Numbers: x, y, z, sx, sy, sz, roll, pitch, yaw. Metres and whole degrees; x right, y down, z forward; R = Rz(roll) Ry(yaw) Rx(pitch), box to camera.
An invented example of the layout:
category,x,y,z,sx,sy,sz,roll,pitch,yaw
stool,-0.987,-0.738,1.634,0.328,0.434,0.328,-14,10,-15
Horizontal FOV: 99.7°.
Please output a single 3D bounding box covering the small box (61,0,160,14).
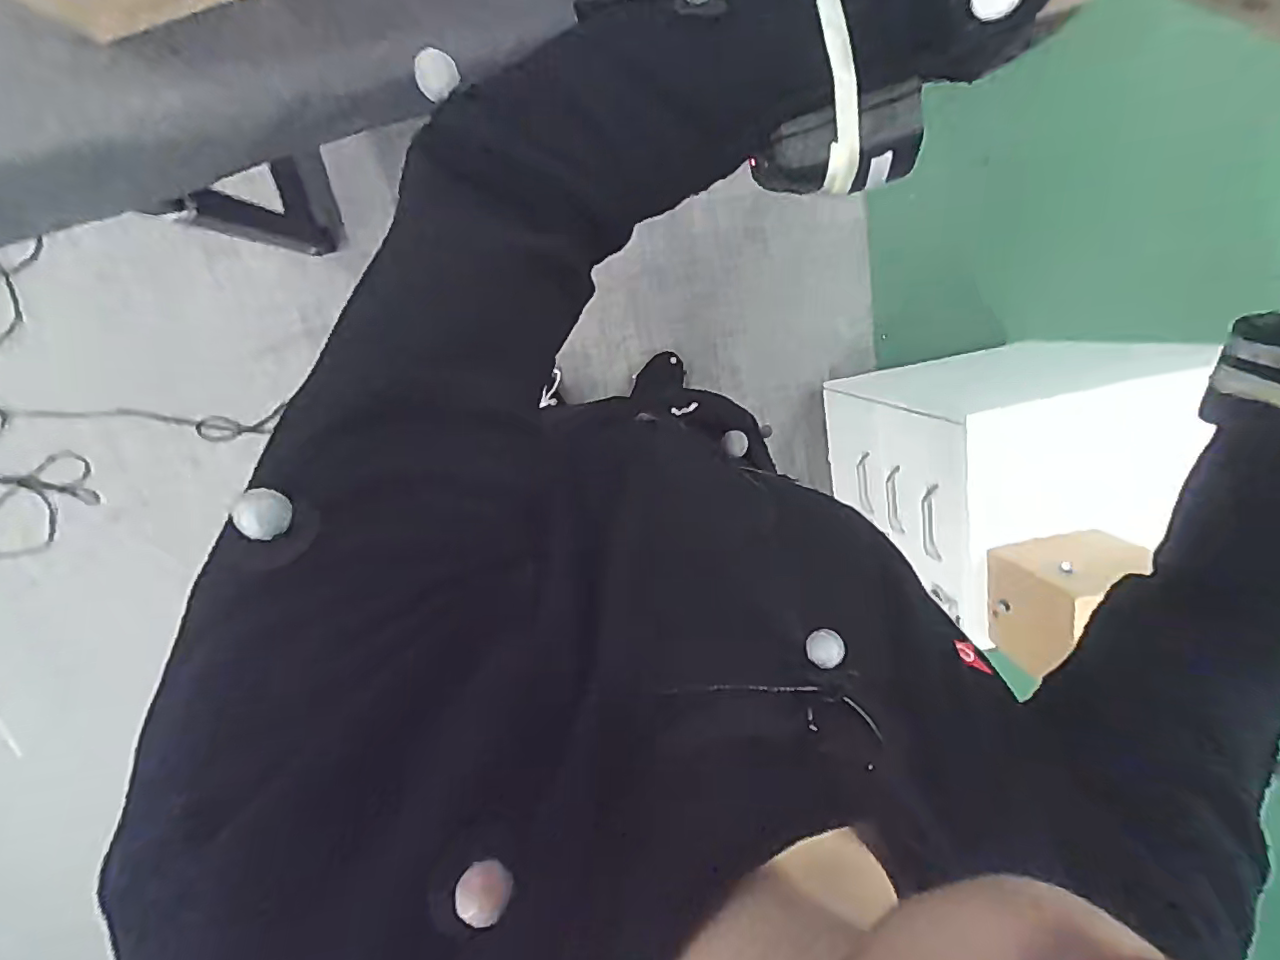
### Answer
category,x,y,z,sx,sy,sz,roll,pitch,yaw
small box,-0.435,-0.486,0.389,0.168,0.176,0.179,-16,105,1
